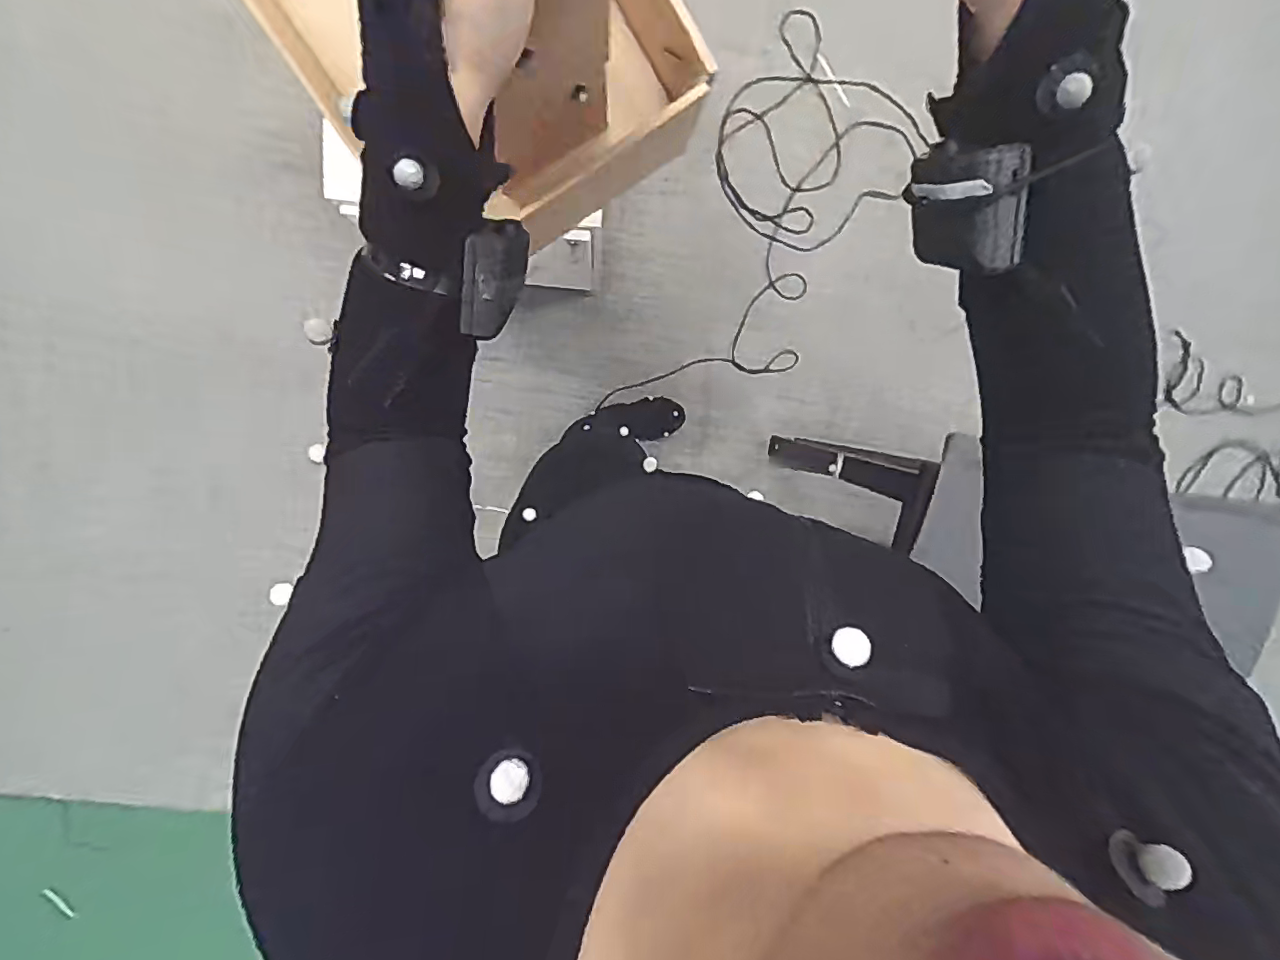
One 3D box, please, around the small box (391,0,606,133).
[{"bbox_3d":[-0.141,-0.467,0.487,0.179,0.176,0.168,-31,99,3],"label":"small box"}]
